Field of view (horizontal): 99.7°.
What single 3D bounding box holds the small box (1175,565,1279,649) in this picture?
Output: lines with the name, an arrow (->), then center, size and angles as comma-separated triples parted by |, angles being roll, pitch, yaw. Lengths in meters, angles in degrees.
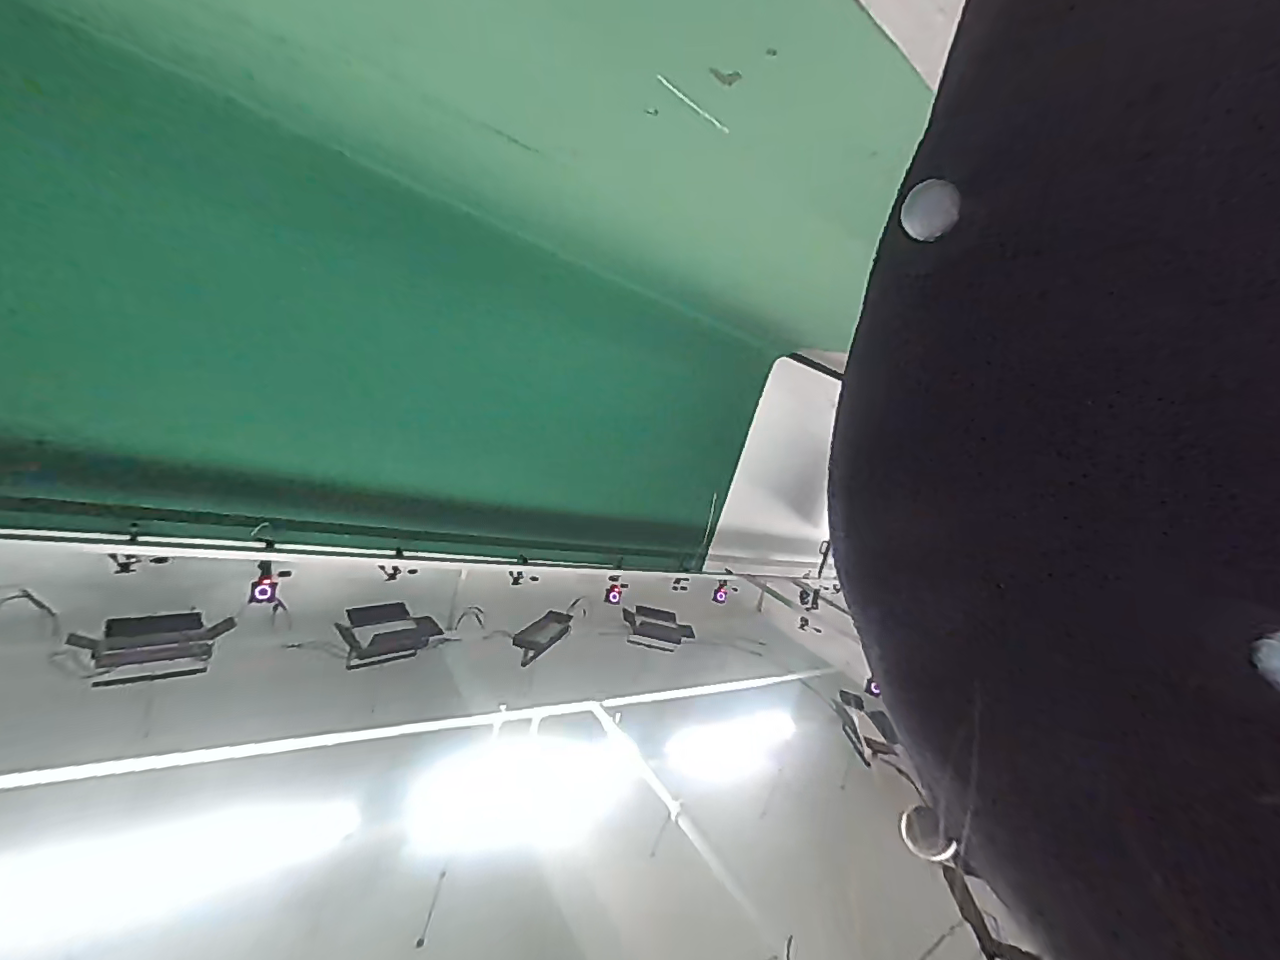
small box -> 1.616, 0.335, 1.467 | 0.168, 0.176, 0.179 | 9, -169, -36
